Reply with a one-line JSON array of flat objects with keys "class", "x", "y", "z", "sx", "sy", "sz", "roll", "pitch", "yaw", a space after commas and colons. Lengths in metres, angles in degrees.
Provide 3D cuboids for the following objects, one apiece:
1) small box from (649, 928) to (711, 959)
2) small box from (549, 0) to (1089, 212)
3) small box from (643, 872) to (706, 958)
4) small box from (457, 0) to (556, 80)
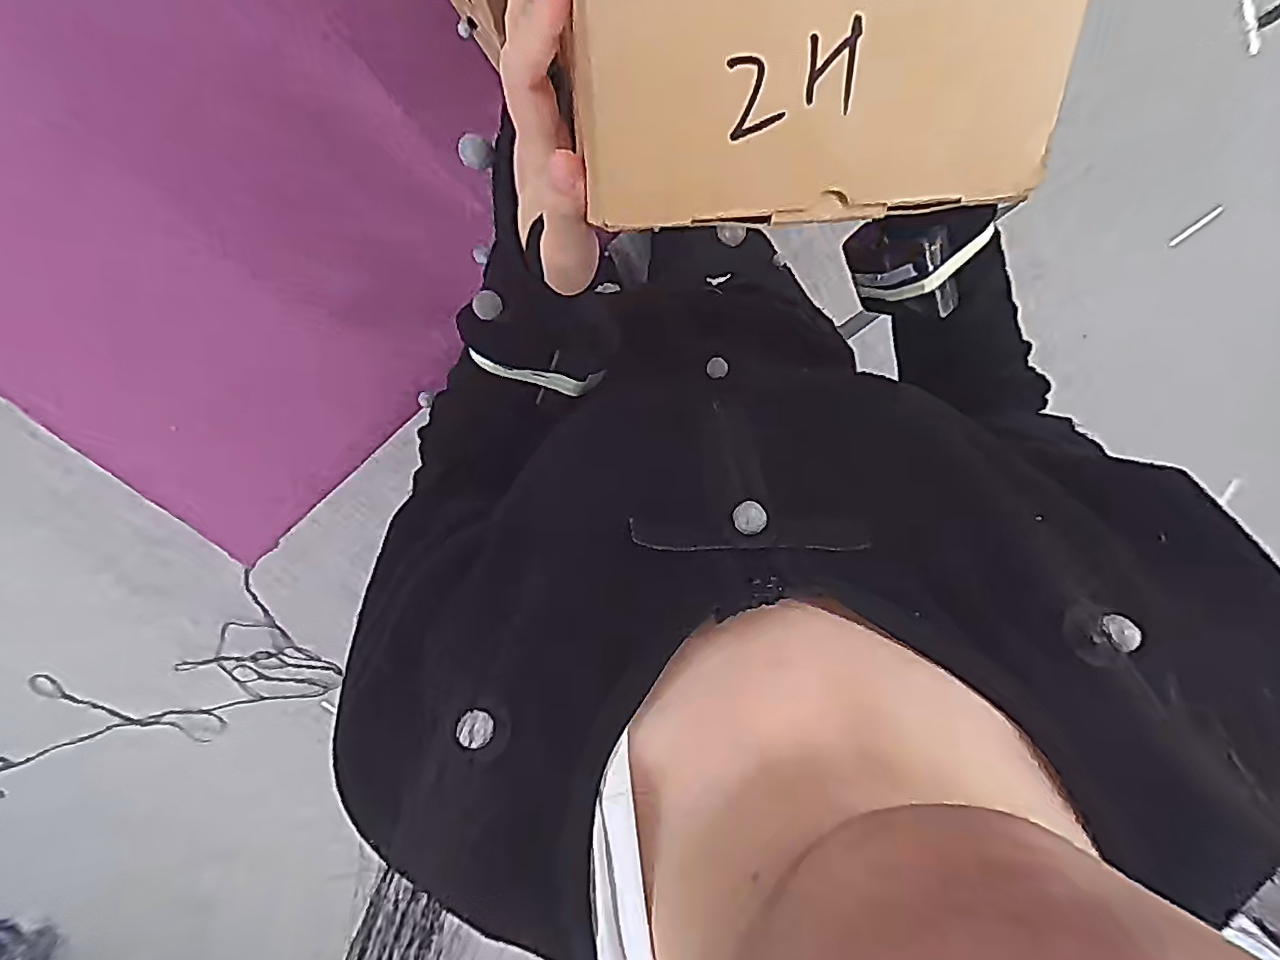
[{"class": "small box", "x": 0.128, "y": 1.535, "z": 1.676, "sx": 0.168, "sy": 0.176, "sz": 0.179, "roll": 7, "pitch": 113, "yaw": -11}, {"class": "small box", "x": 0.048, "y": -0.211, "z": 0.220, "sx": 0.168, "sy": 0.176, "sz": 0.179, "roll": -7, "pitch": 118, "yaw": -6}, {"class": "small box", "x": 0.109, "y": 1.465, "z": 1.824, "sx": 0.168, "sy": 0.176, "sz": 0.179, "roll": 7, "pitch": 112, "yaw": -11}, {"class": "small box", "x": -0.098, "y": -0.483, "z": 0.451, "sx": 0.179, "sy": 0.176, "sz": 0.168, "roll": -36, "pitch": 115, "yaw": 8}]
